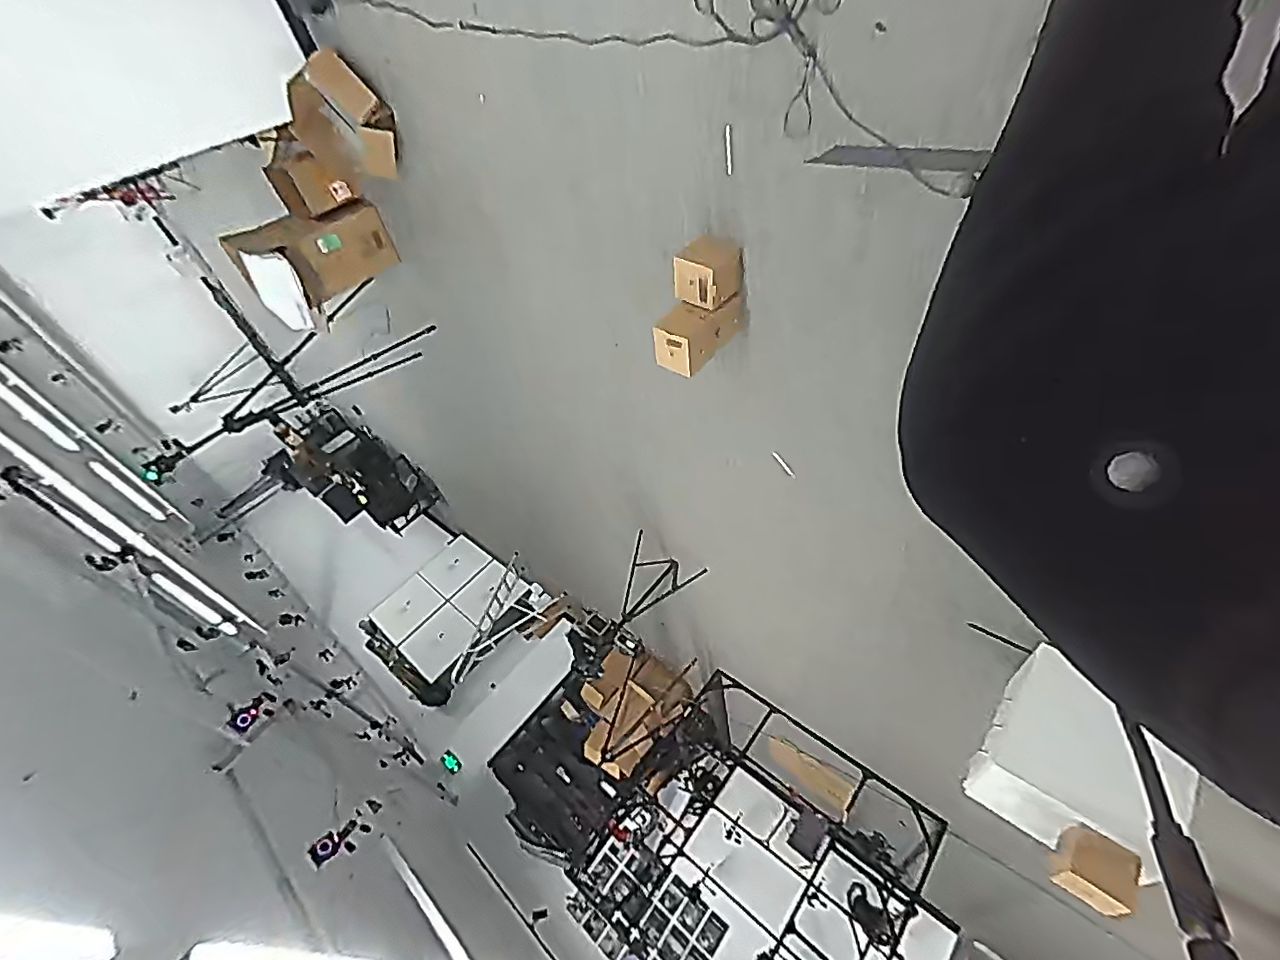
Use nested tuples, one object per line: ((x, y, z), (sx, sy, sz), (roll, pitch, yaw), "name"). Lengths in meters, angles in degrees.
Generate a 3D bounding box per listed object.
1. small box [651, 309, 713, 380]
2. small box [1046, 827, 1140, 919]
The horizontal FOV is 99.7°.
((0.163, -0.515, 2.038), (0.168, 0.176, 0.179), (30, 151, 29), "small box")
((1.457, 1.261, 1.738), (0.168, 0.176, 0.179), (27, 149, 31), "small box")
